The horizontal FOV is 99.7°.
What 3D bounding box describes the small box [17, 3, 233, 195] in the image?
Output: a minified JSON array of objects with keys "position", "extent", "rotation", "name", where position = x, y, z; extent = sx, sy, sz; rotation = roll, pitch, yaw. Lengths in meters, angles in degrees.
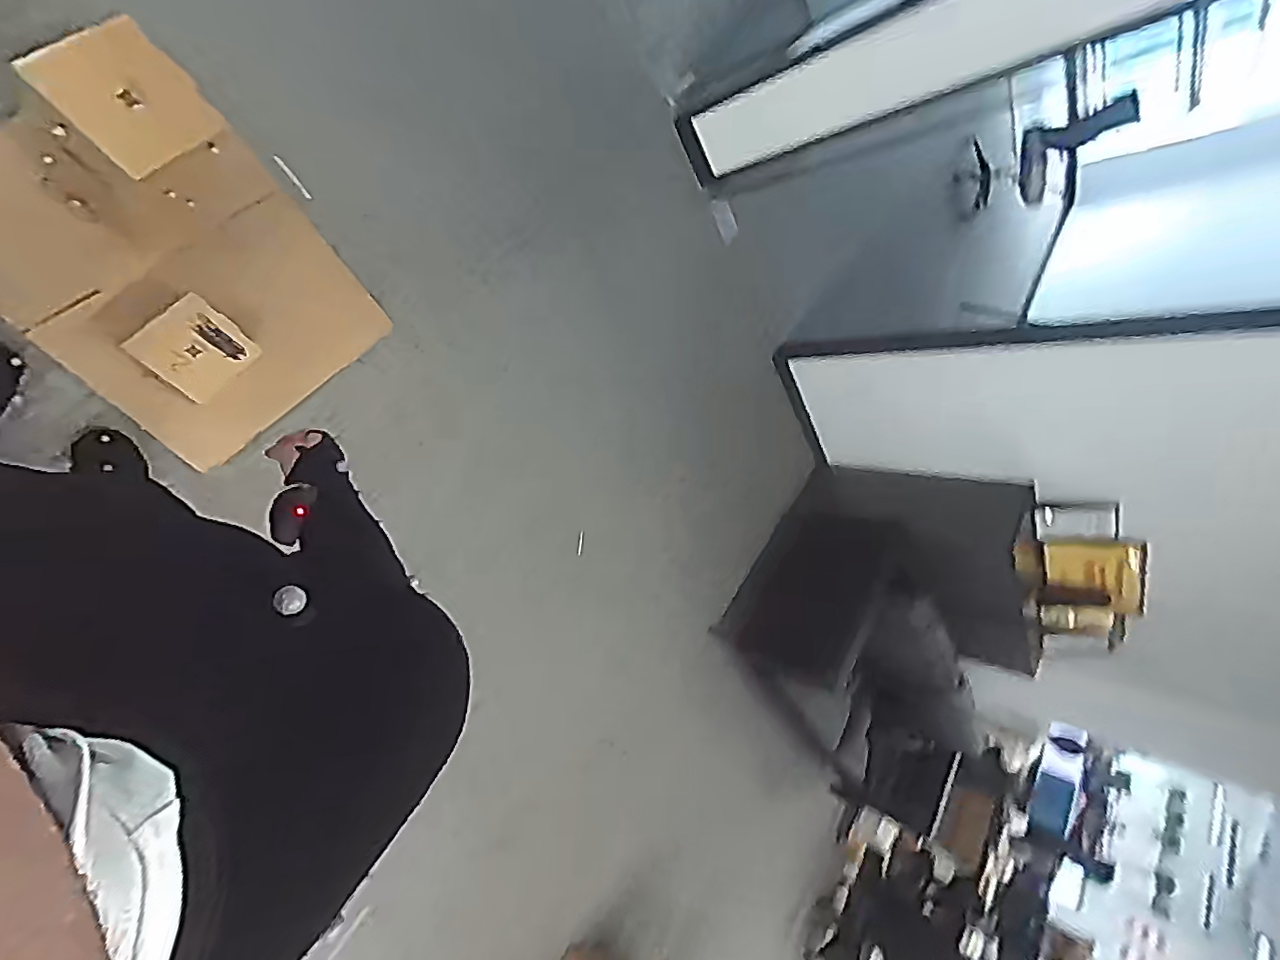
[{"position":[-0.794,-0.585,0.852],"extent":[0.179,0.176,0.168],"rotation":[-54,128,-23],"name":"small box"}]
